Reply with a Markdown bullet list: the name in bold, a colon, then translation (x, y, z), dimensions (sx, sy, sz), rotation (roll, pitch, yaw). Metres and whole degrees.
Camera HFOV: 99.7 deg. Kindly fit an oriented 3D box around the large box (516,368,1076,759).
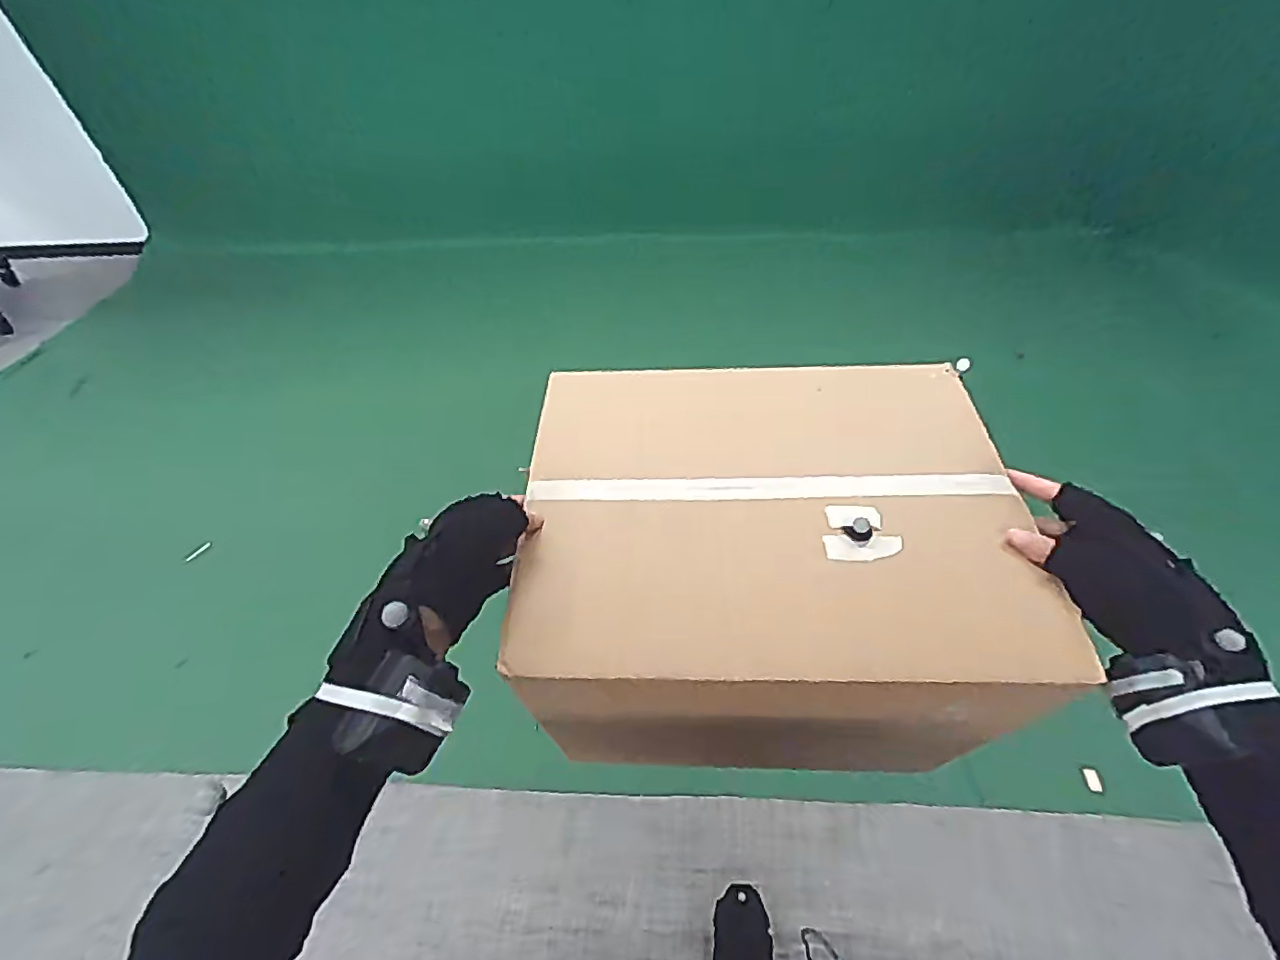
- **large box**: translation (0.114, 0.103, 0.588), dimensions (0.408, 0.320, 0.320), rotation (-1, 53, 3)
